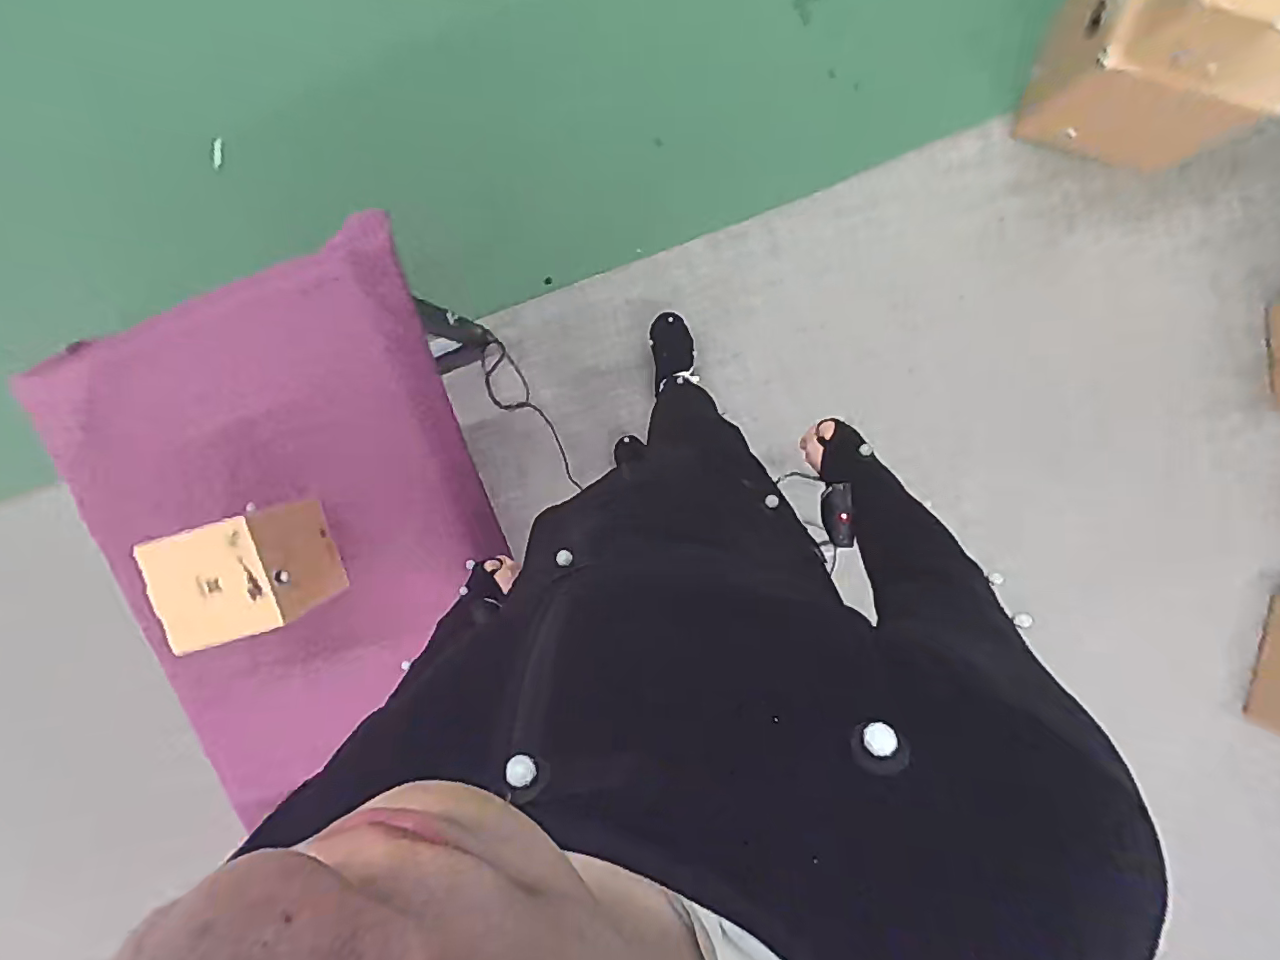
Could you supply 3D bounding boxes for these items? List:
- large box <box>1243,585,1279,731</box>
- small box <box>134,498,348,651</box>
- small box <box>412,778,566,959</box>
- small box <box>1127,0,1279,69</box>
[{"bbox_3d":[1.984,0.534,1.472,0.320,0.320,0.408,4,97,1],"label":"large box"},{"bbox_3d":[-0.598,0.136,0.834,0.179,0.176,0.168,-16,97,4],"label":"small box"},{"bbox_3d":[-0.231,0.629,0.887,0.179,0.176,0.168,-20,96,5],"label":"small box"},{"bbox_3d":[1.109,-0.954,1.045,0.168,0.176,0.179,15,99,0],"label":"small box"}]
